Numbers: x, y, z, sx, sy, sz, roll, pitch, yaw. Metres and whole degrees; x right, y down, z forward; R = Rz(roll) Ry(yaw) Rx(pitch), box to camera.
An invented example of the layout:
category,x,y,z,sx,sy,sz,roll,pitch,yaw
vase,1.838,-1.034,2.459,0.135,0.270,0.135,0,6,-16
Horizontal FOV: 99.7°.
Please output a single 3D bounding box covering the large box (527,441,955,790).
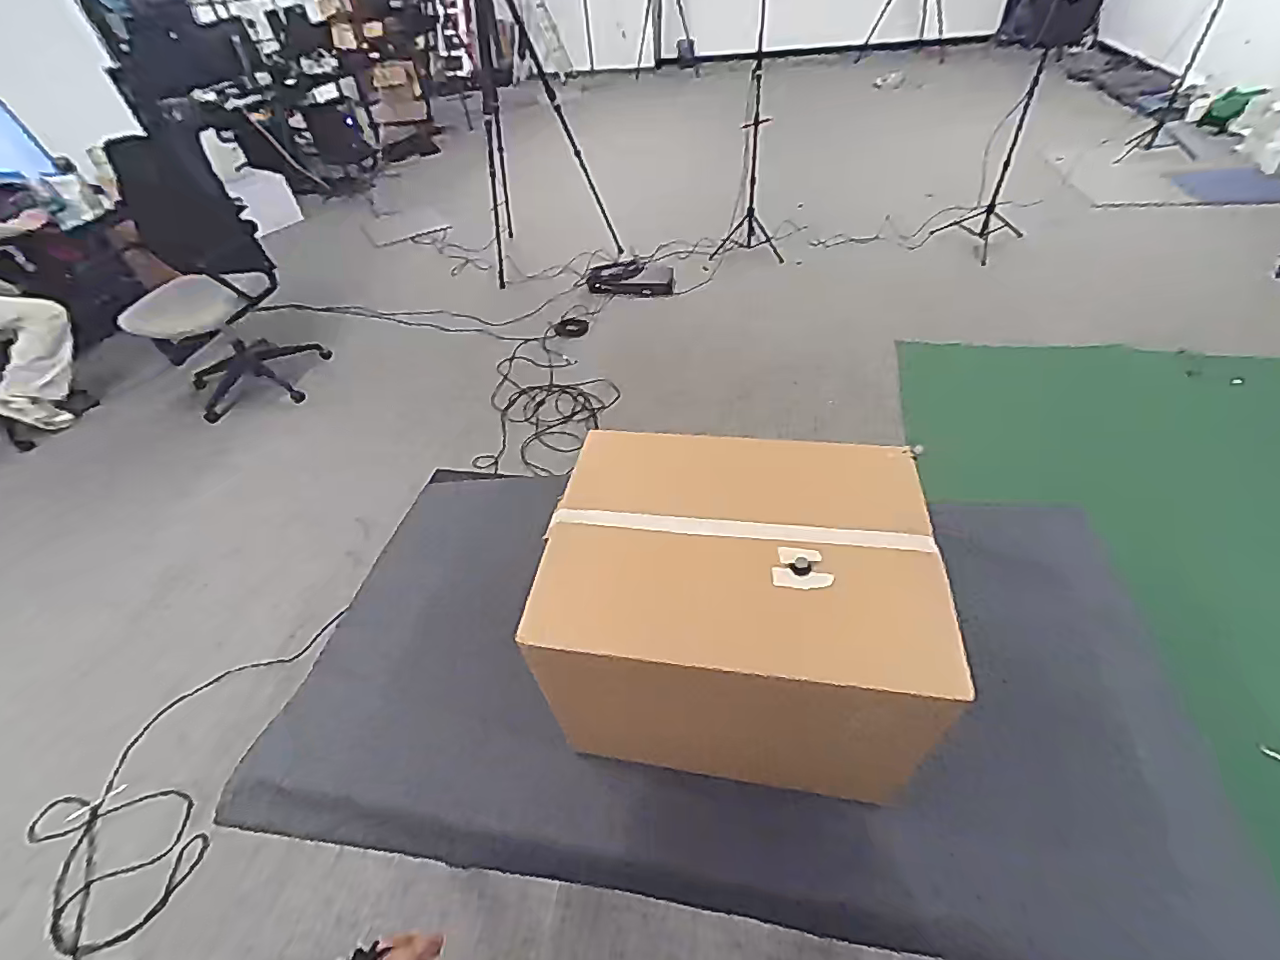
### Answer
category,x,y,z,sx,sy,sz,roll,pitch,yaw
large box,0.113,0.169,0.706,0.408,0.320,0.320,4,47,10
